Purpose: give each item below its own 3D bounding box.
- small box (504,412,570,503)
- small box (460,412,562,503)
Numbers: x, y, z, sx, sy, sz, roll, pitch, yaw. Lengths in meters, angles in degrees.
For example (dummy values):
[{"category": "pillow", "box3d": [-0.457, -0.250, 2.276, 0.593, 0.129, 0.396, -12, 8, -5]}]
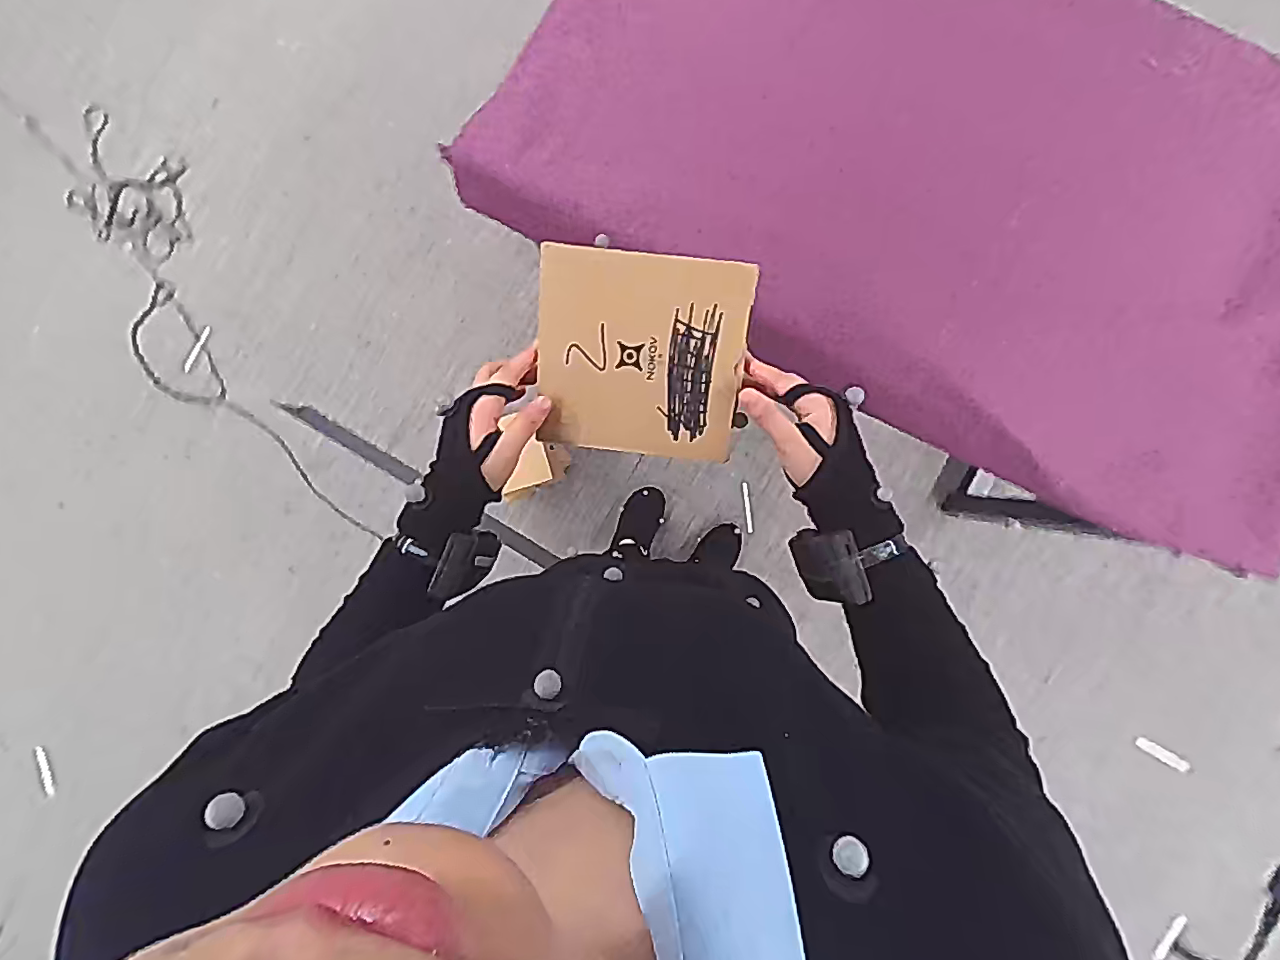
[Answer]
[{"category": "small box", "box3d": [-0.308, -0.055, 1.430, 0.179, 0.176, 0.168, -38, 89, 2]}, {"category": "small box", "box3d": [-0.290, -0.051, 1.264, 0.179, 0.176, 0.168, -17, 89, 2]}]
